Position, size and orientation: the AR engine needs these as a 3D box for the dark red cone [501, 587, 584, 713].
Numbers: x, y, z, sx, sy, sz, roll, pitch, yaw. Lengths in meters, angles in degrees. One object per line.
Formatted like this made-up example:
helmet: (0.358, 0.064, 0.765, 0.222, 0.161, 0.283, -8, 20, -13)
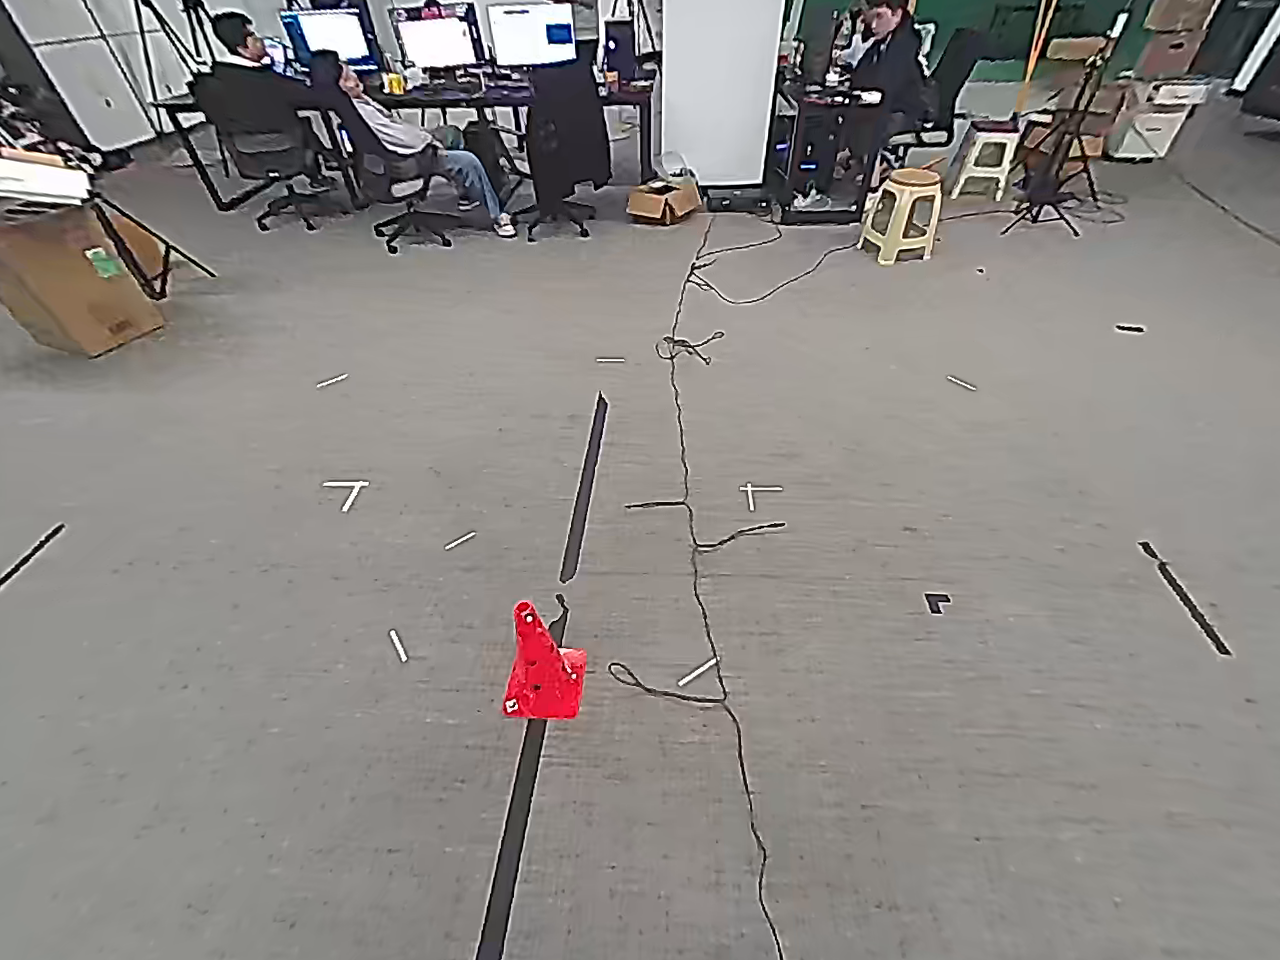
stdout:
dark red cone: (-0.255, 0.396, 1.323, 0.201, 0.394, 0.202, 2, 43, 2)
